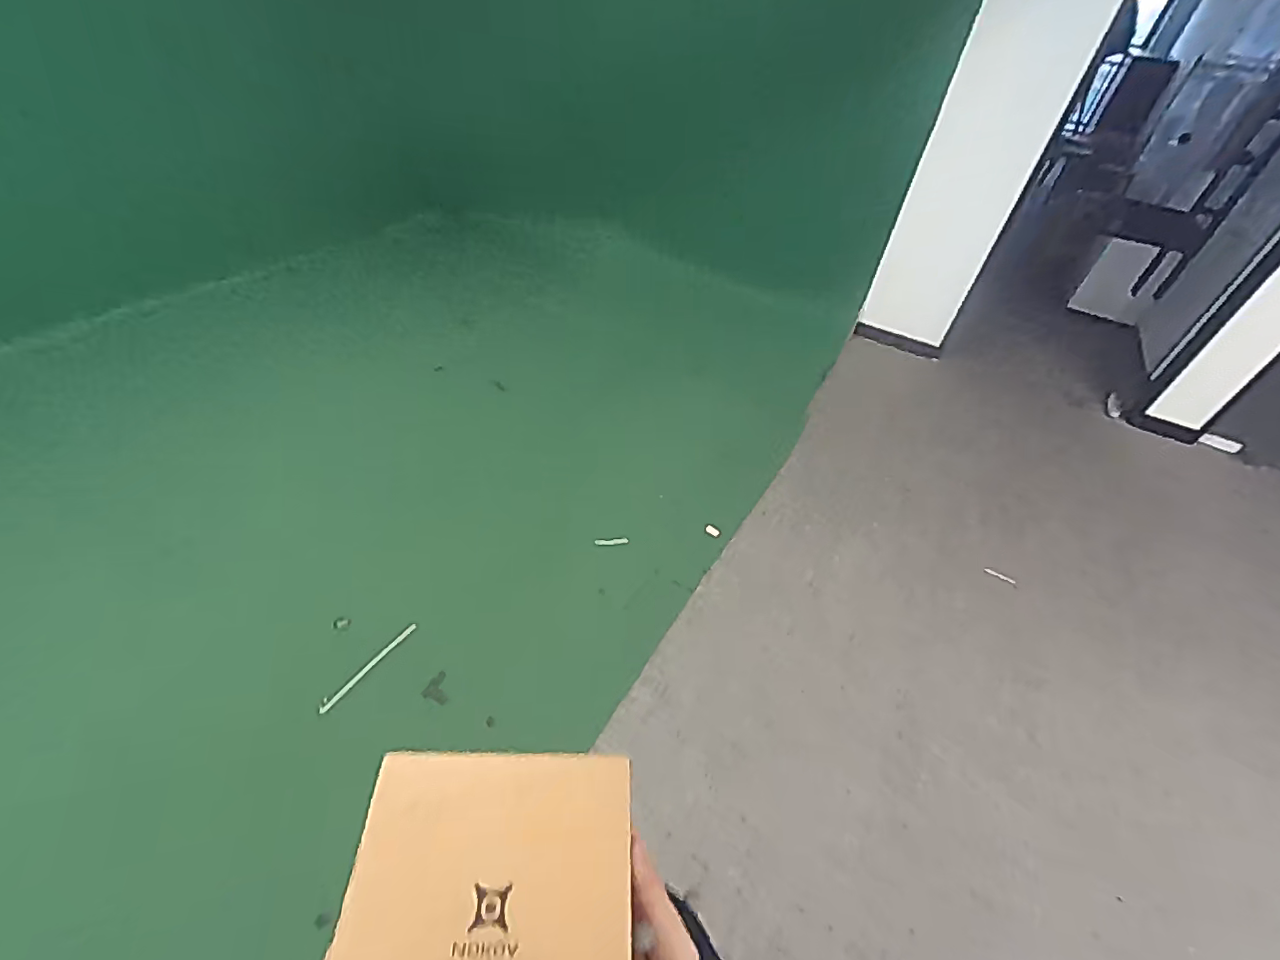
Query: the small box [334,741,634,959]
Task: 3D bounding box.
[{"bbox_3d":[-0.095,0.300,0.374,0.168,0.176,0.179,4,48,-6],"label":"small box"}]
